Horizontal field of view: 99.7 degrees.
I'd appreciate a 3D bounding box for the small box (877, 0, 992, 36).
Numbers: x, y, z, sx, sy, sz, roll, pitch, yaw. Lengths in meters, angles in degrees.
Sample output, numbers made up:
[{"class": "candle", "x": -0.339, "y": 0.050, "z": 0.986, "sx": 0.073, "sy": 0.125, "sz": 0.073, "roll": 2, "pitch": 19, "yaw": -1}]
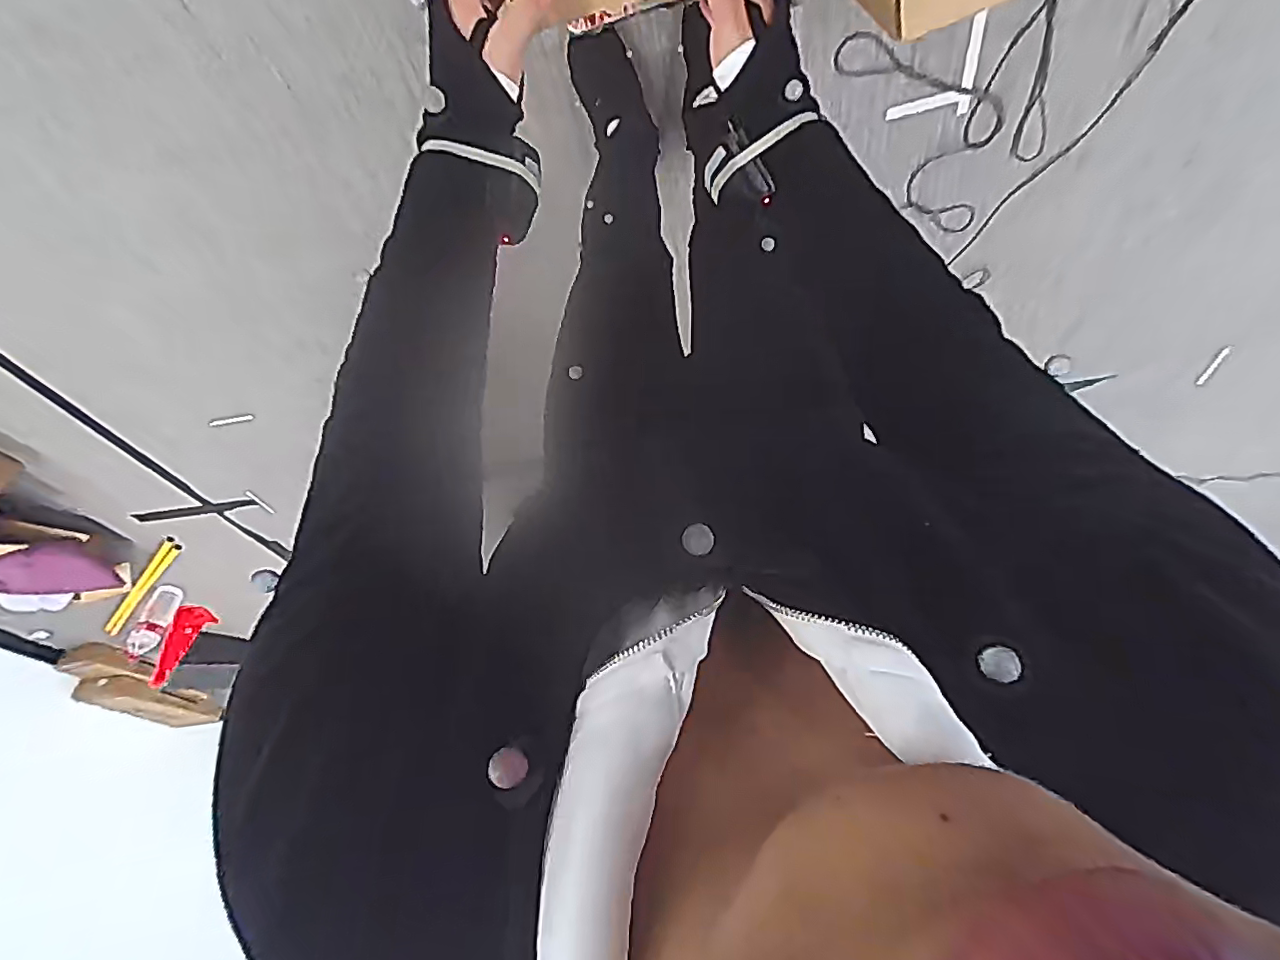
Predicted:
[{"class": "small box", "x": 0.200, "y": -0.392, "z": 0.288, "sx": 0.179, "sy": 0.176, "sz": 0.168, "roll": -14, "pitch": 144, "yaw": 14}]
